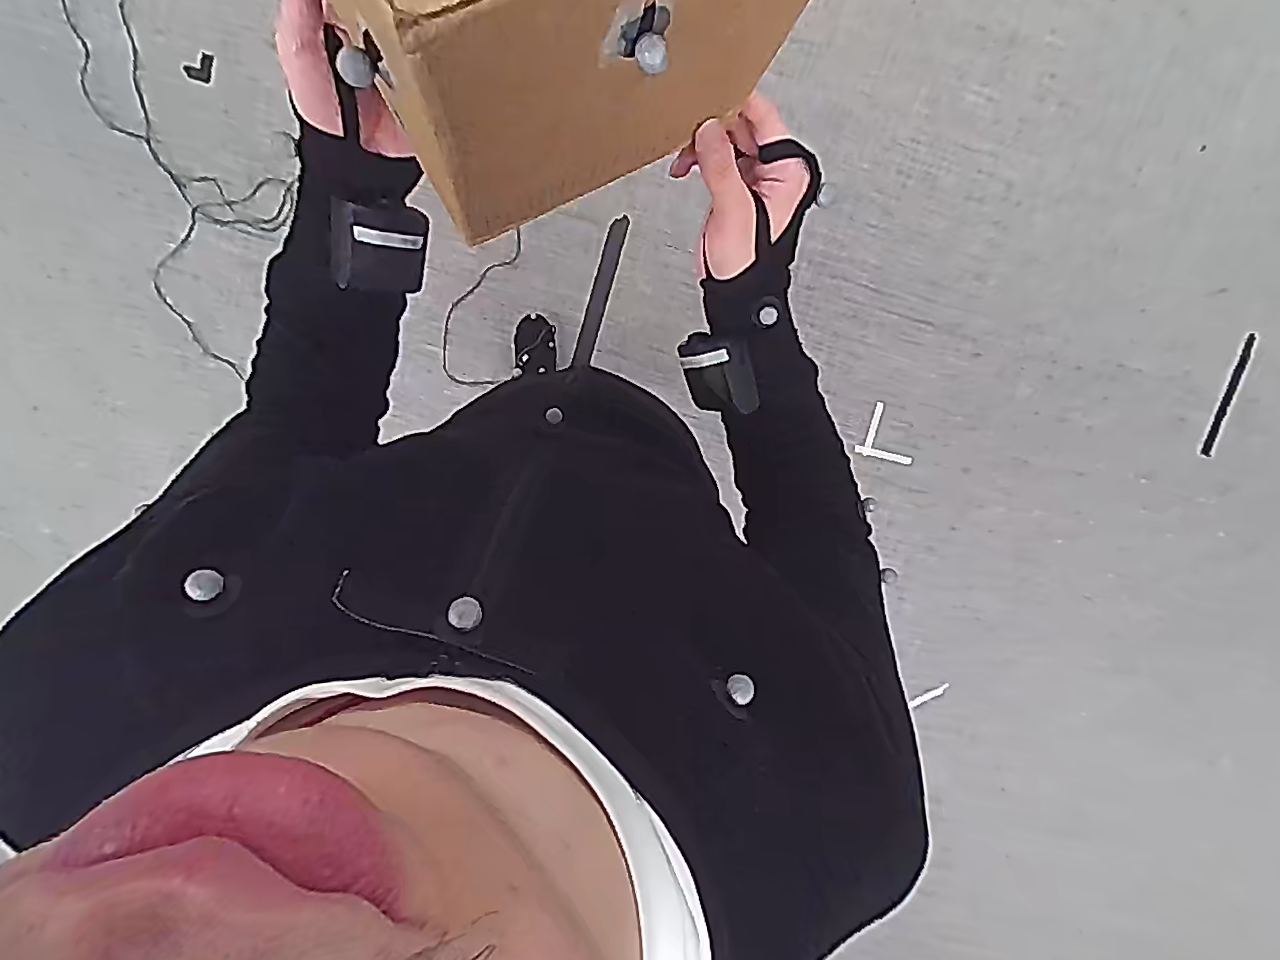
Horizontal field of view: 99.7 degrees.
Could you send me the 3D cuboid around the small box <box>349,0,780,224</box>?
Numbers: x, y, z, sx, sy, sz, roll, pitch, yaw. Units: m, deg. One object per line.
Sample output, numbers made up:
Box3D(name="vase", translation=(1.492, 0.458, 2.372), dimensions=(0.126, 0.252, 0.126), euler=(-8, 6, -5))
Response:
Box3D(name="small box", translation=(-0.041, -0.242, 0.229), dimensions=(0.179, 0.176, 0.168), euler=(-29, 100, -9))
